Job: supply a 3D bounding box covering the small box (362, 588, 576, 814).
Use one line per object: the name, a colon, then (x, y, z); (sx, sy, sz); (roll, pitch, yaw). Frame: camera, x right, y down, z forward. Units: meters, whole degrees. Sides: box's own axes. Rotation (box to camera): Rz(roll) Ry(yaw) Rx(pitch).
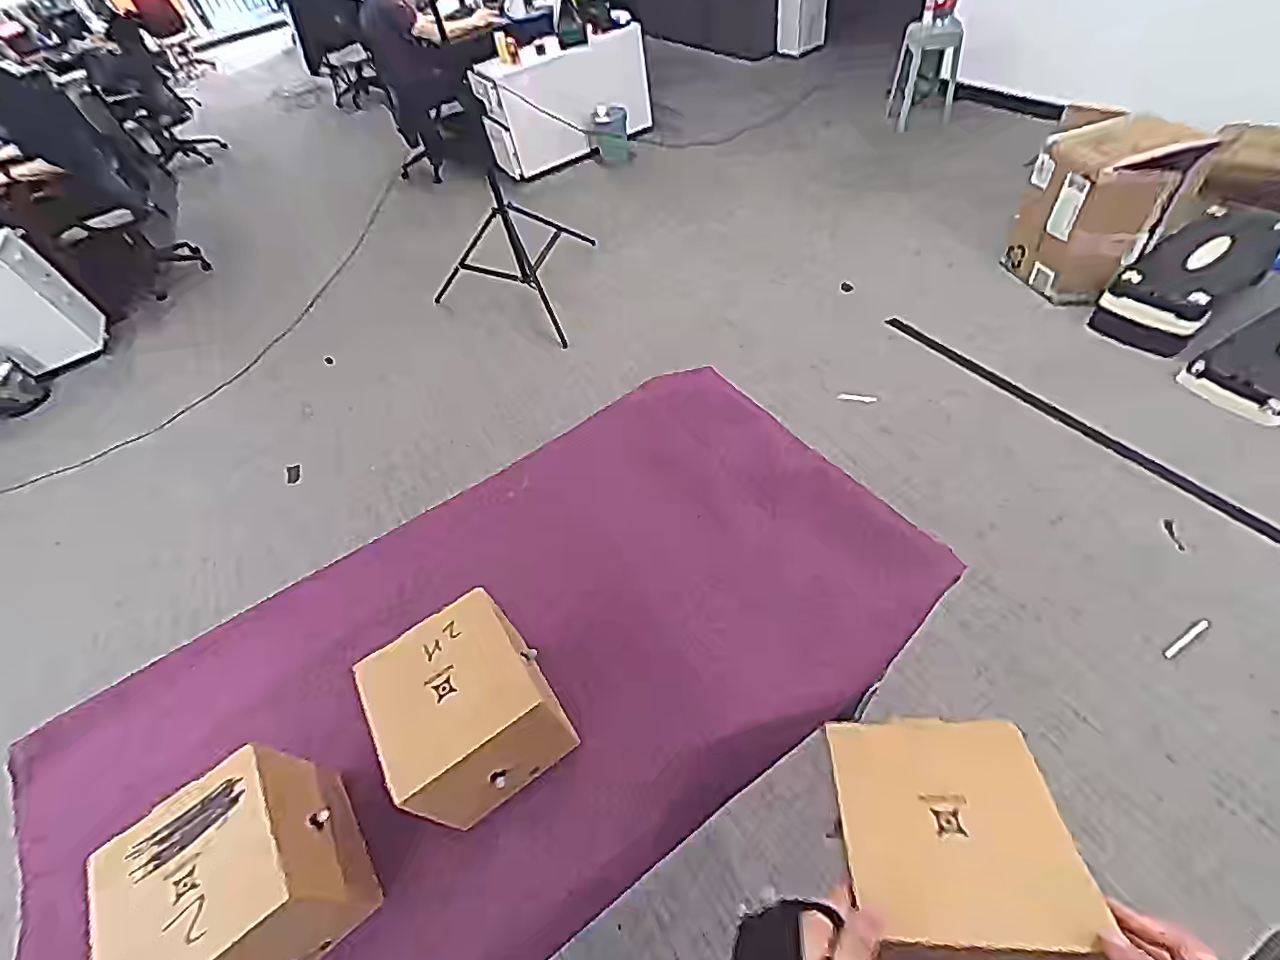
small box: (-0.198, 0.273, 0.656); (0.168, 0.176, 0.179); (-31, 51, -16)
